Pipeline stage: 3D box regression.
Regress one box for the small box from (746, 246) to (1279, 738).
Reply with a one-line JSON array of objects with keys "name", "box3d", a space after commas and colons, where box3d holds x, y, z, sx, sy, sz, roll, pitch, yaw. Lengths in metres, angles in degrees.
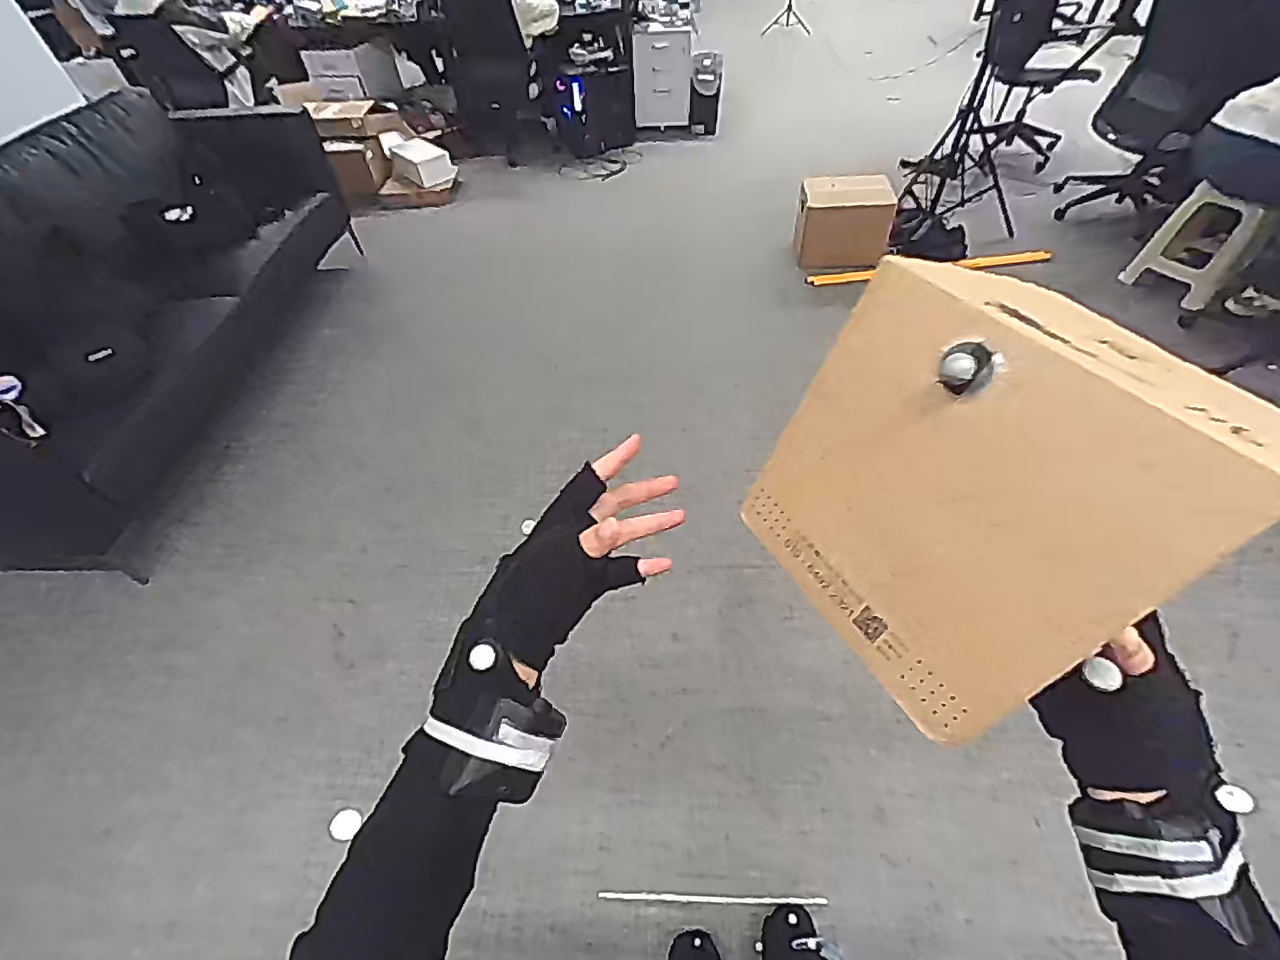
[{"name": "small box", "box3d": [0.192, 0.002, 0.293, 0.179, 0.176, 0.168, -6, 44, -34]}]
